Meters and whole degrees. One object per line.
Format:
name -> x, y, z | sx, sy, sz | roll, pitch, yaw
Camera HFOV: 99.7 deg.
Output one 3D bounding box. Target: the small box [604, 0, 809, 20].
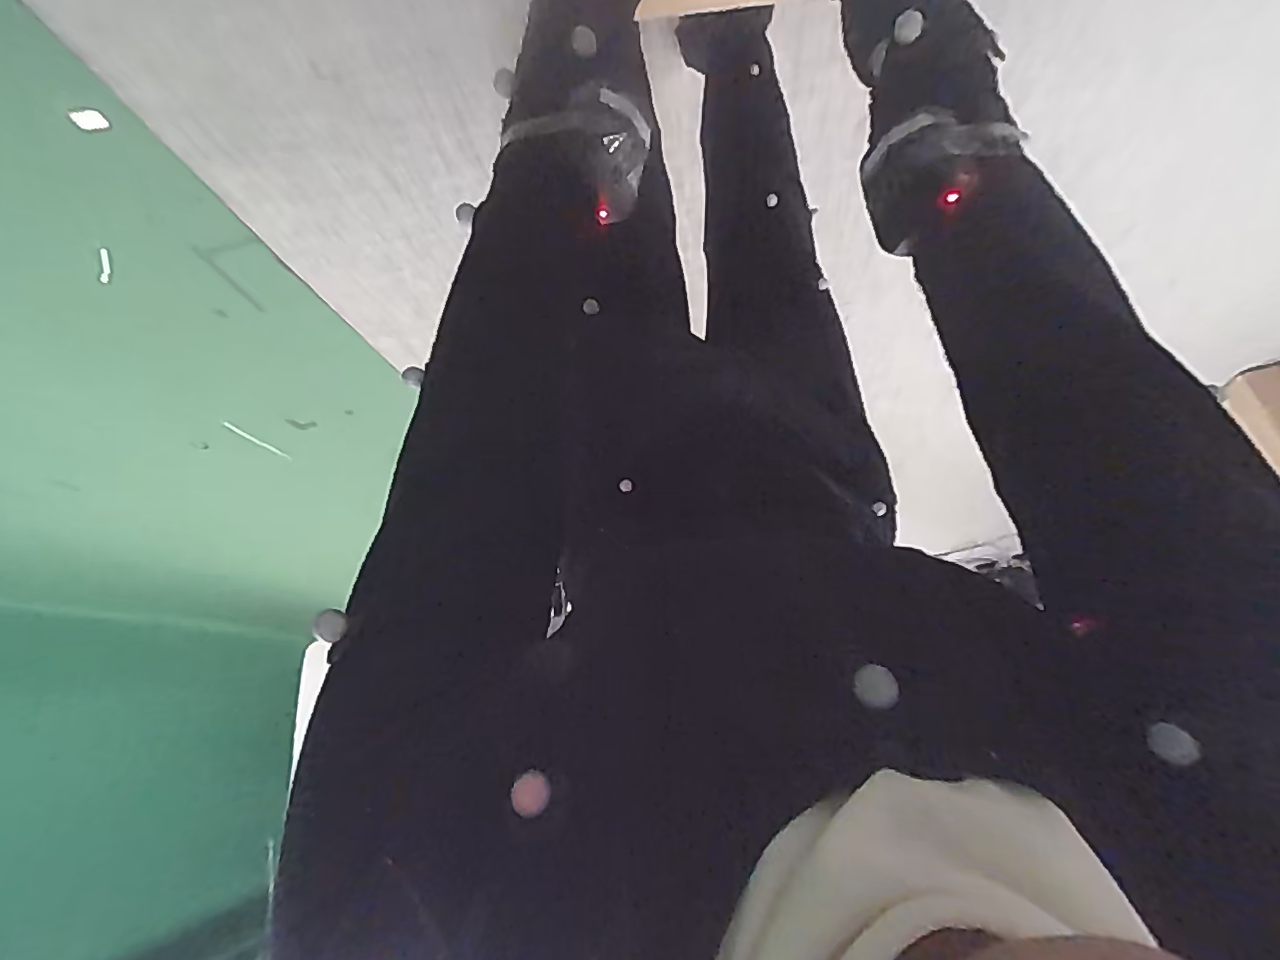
small box -> 0.049, -0.469, 0.373 | 0.179, 0.176, 0.168 | -6, 158, 0
